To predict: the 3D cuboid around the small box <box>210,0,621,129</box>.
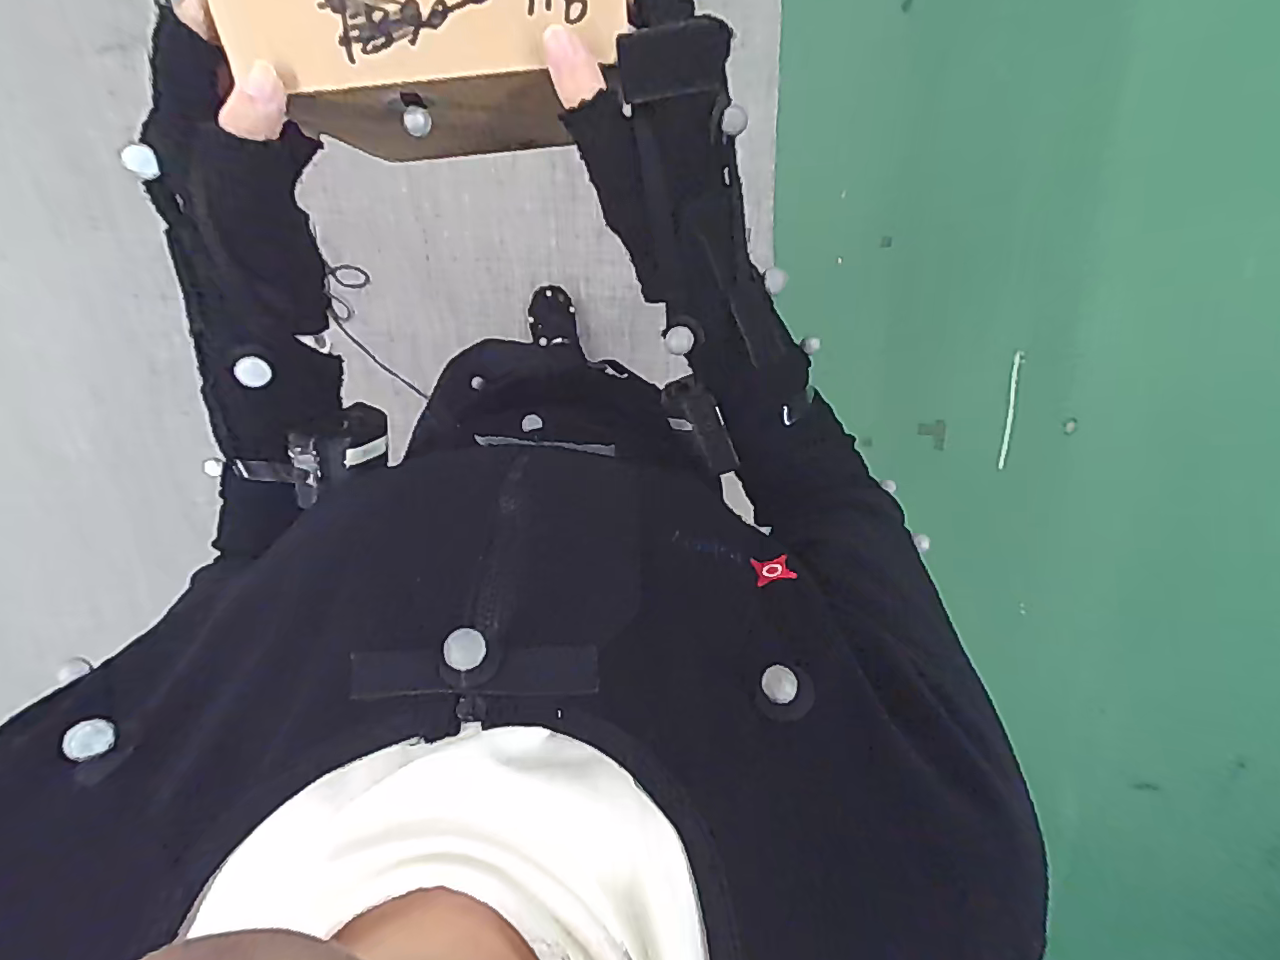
[{"bbox_3d":[-0.102,-0.298,0.265,0.168,0.176,0.179,-7,112,-2],"label":"small box"}]
